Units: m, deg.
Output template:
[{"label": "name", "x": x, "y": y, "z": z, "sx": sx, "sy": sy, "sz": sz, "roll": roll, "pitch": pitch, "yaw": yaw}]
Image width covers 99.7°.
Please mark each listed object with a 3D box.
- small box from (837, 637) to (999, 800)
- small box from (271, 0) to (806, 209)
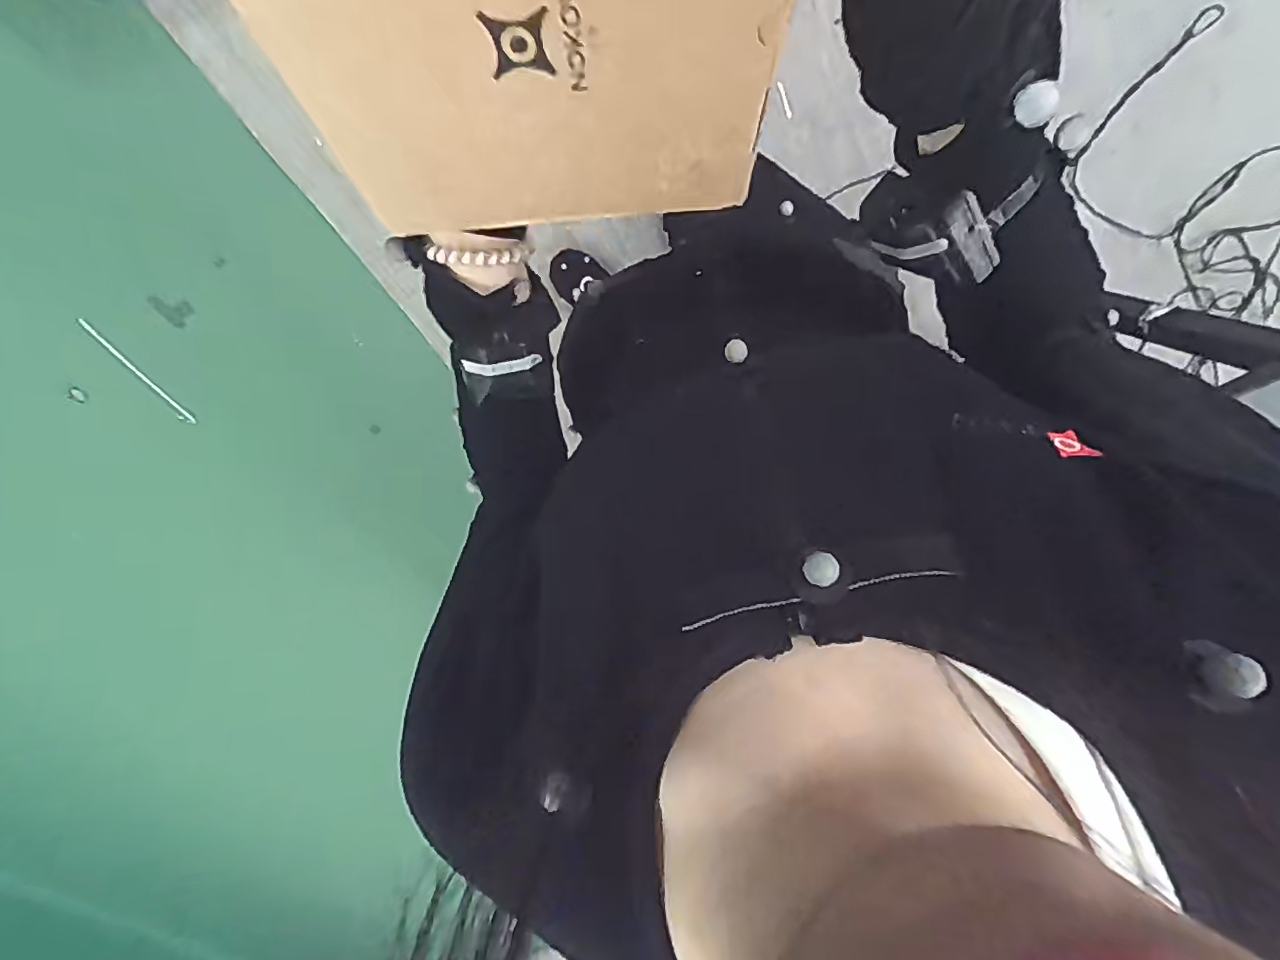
[{"label": "small box", "x": 0.472, "y": 0.408, "z": 0.936, "sx": 0.168, "sy": 0.176, "sz": 0.179, "roll": -32, "pitch": 117, "yaw": 13}, {"label": "small box", "x": -0.035, "y": -0.233, "z": 0.196, "sx": 0.179, "sy": 0.168, "sz": 0.176, "roll": -4, "pitch": 75, "yaw": 2}]
